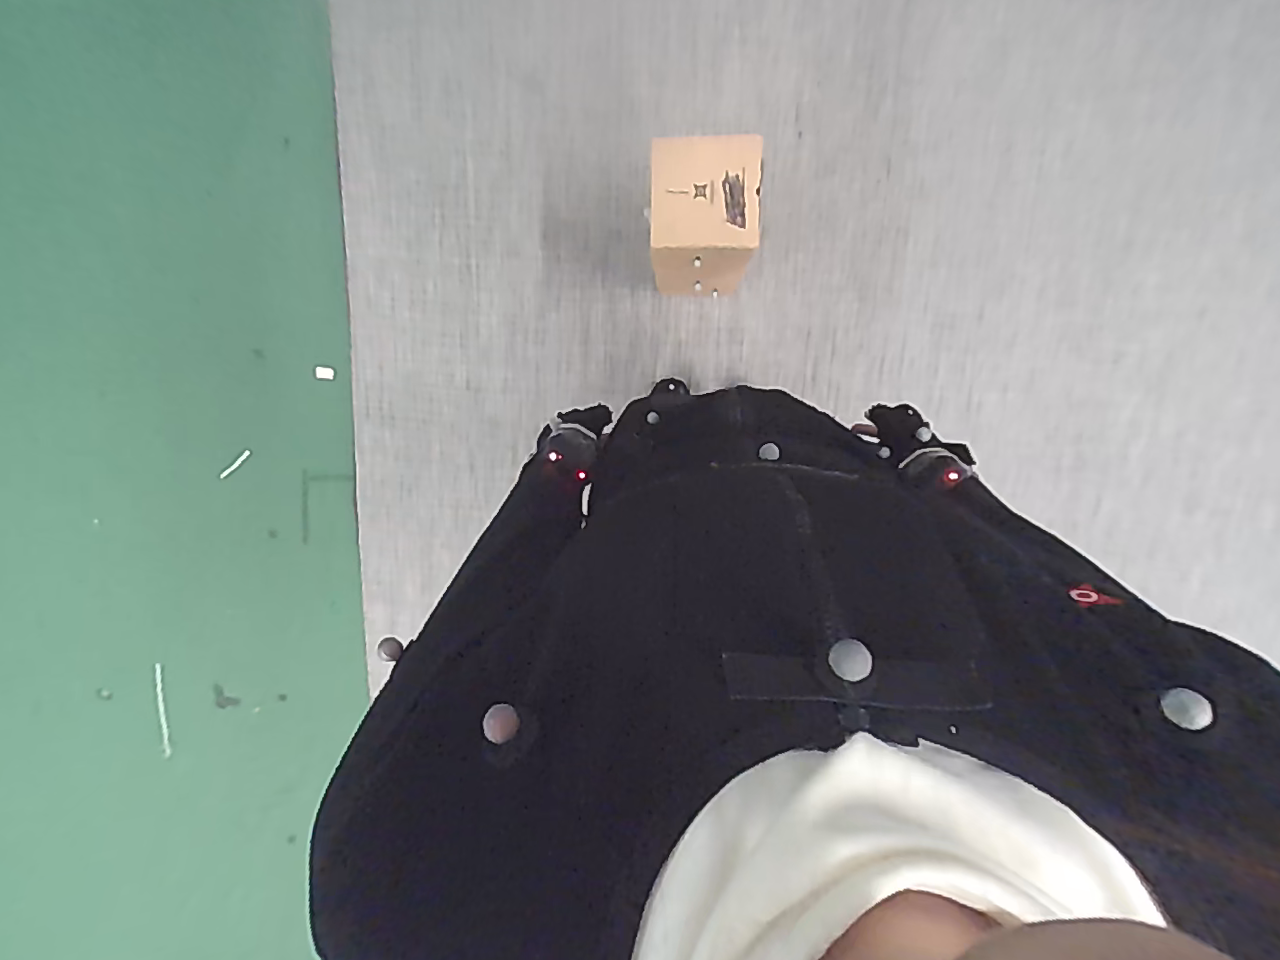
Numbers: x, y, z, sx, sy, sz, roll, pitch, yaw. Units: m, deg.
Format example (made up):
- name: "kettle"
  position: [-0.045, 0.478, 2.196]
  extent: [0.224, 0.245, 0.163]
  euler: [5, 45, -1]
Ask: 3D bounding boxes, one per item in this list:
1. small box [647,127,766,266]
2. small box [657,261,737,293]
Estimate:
- name: "small box"
  position: [0.107, -0.474, 0.929]
  extent: [0.179, 0.176, 0.168]
  euler: [5, 99, 3]
- name: "small box"
  position: [0.133, -0.535, 1.253]
  extent: [0.179, 0.176, 0.168]
  euler: [2, 100, 5]
